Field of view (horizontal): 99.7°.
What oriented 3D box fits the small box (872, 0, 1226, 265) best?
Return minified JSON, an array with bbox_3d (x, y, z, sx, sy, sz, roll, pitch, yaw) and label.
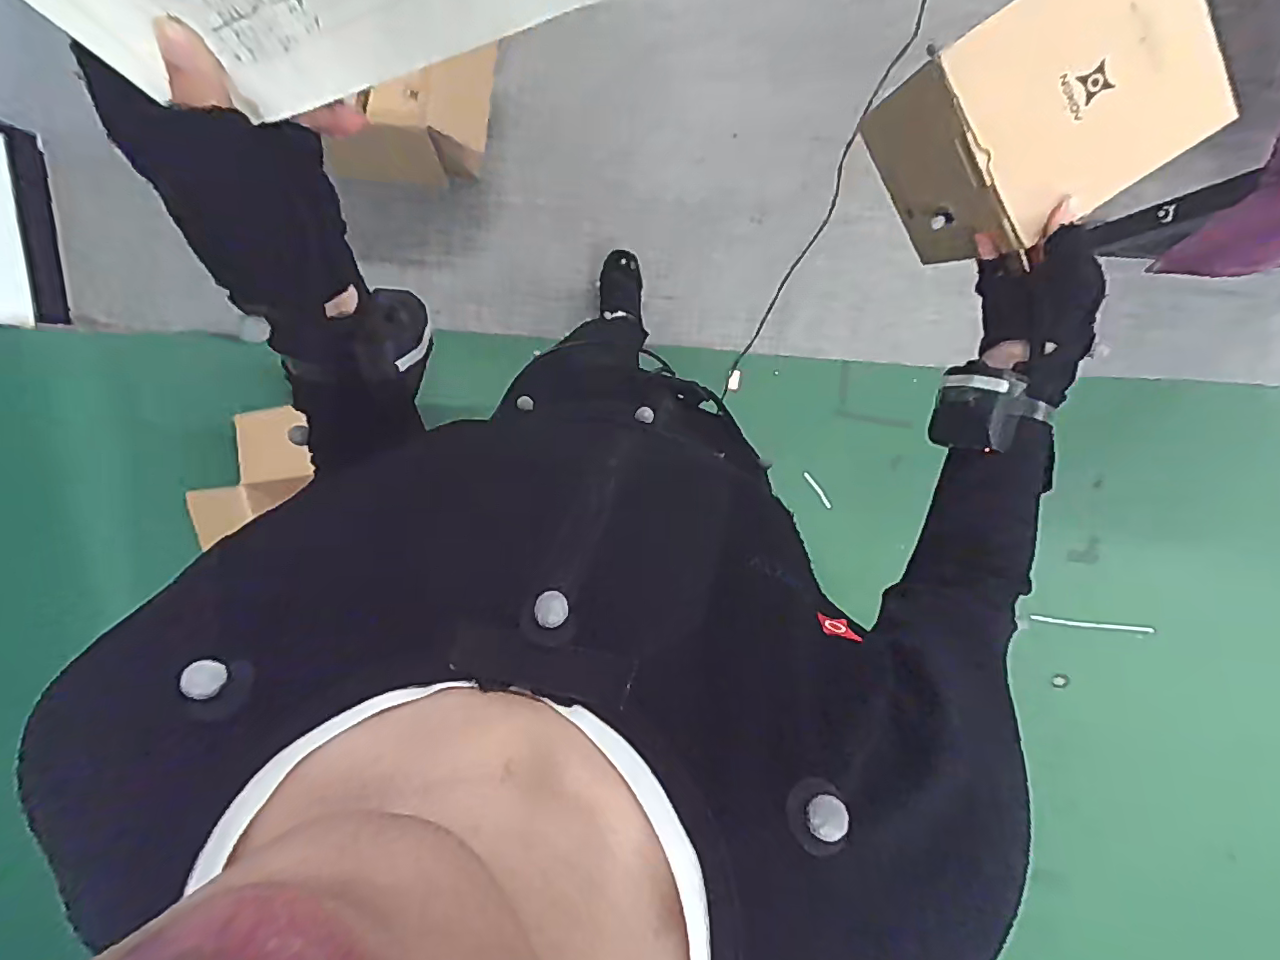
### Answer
[{"bbox_3d":[0.336,-0.315,0.487,0.179,0.176,0.168,-31,105,9],"label":"small box"}]
